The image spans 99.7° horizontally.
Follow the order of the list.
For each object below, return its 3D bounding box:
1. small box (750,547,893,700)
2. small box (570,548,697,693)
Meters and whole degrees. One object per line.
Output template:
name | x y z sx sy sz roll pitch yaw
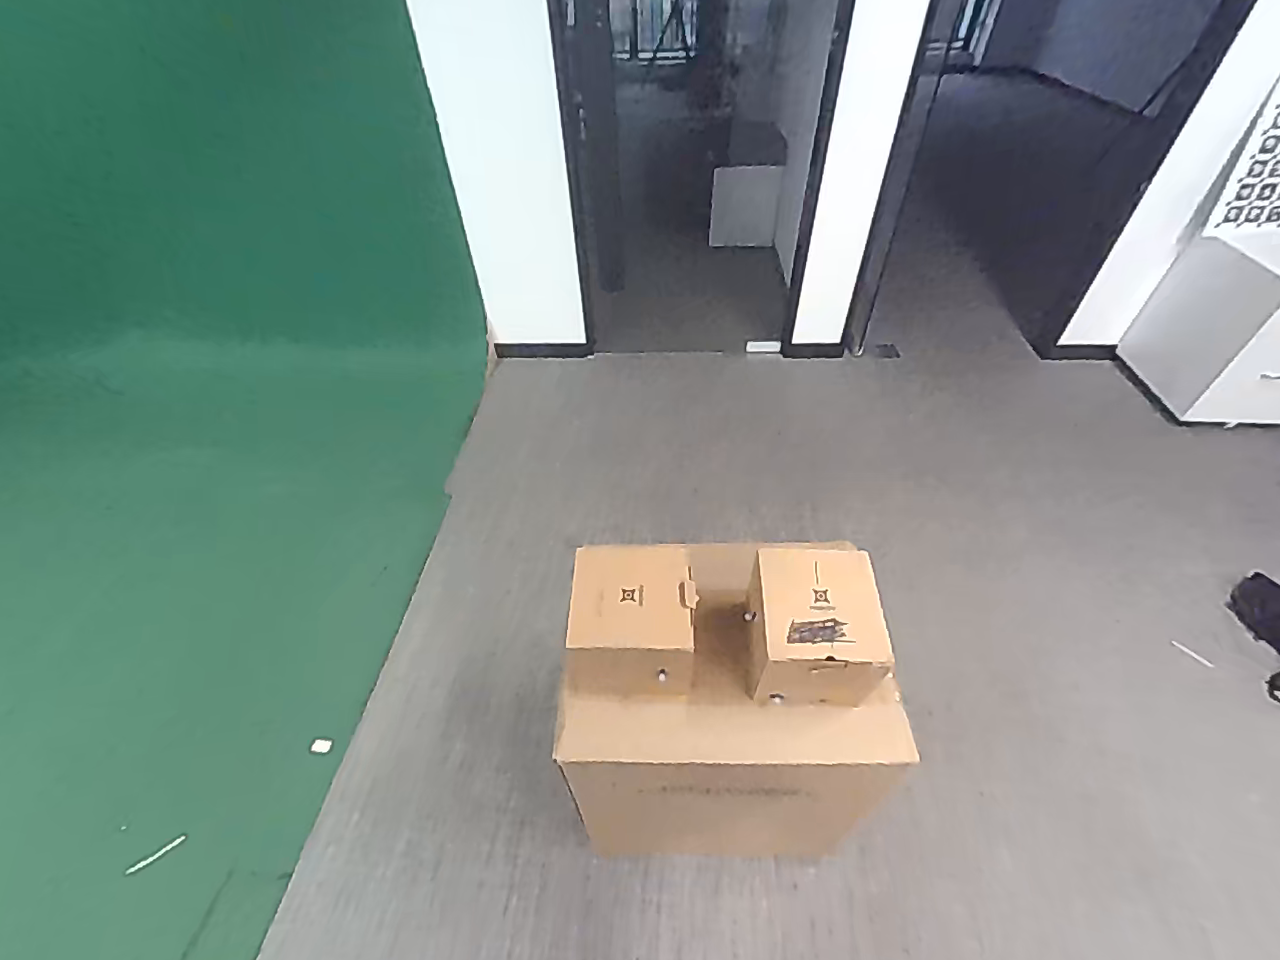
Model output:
small box | 0.261 0.221 0.824 0.168 0.176 0.179 1 49 4
small box | -0.004 0.221 0.845 0.179 0.176 0.168 -2 48 4
